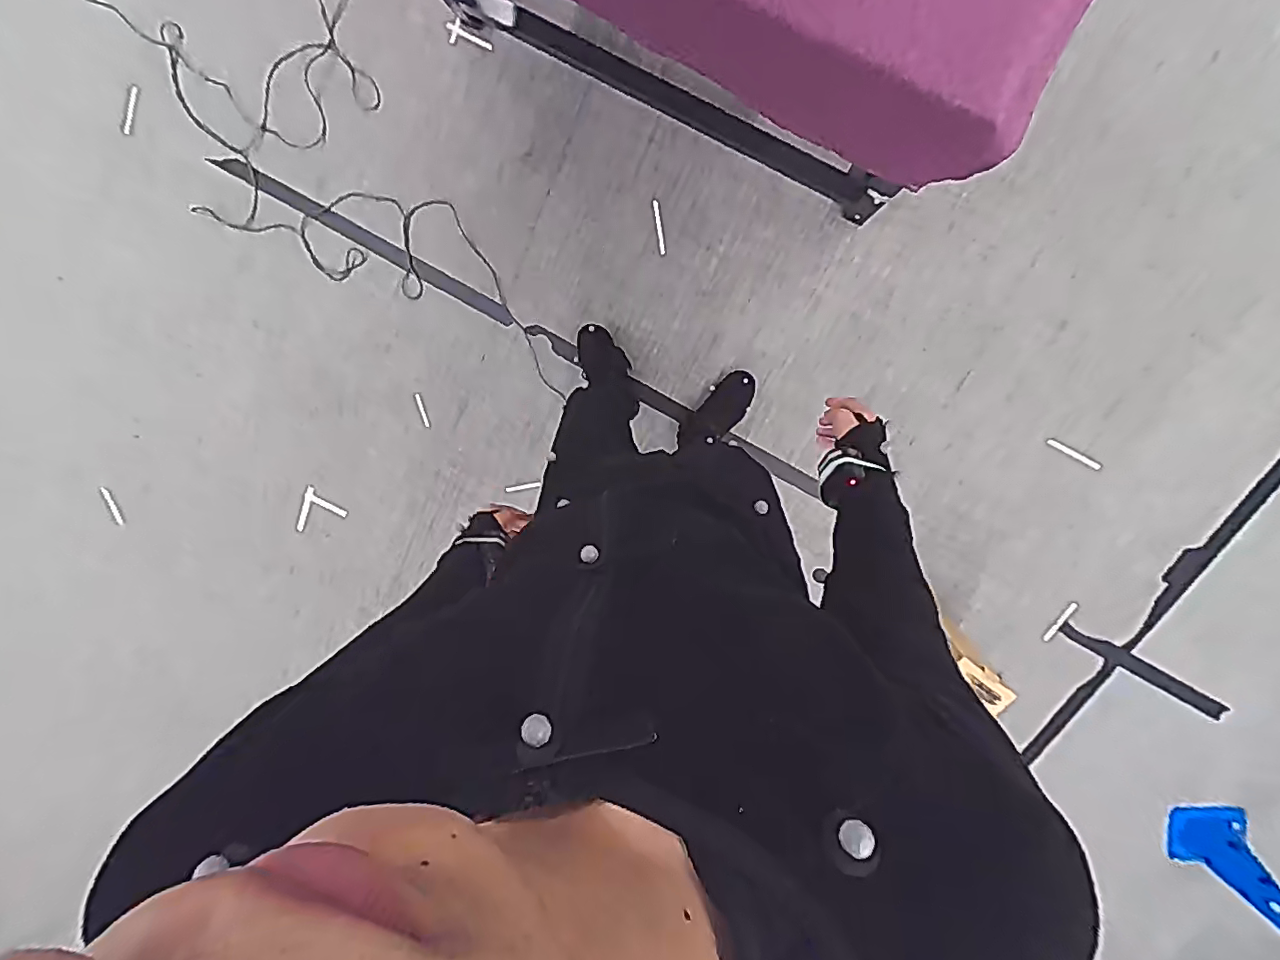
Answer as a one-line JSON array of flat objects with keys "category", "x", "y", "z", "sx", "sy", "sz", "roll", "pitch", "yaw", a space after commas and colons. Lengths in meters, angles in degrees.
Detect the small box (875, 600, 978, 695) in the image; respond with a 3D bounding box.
[{"category": "small box", "x": 0.813, "y": 0.470, "z": 1.558, "sx": 0.179, "sy": 0.176, "sz": 0.168, "roll": 32, "pitch": 107, "yaw": 0}]
